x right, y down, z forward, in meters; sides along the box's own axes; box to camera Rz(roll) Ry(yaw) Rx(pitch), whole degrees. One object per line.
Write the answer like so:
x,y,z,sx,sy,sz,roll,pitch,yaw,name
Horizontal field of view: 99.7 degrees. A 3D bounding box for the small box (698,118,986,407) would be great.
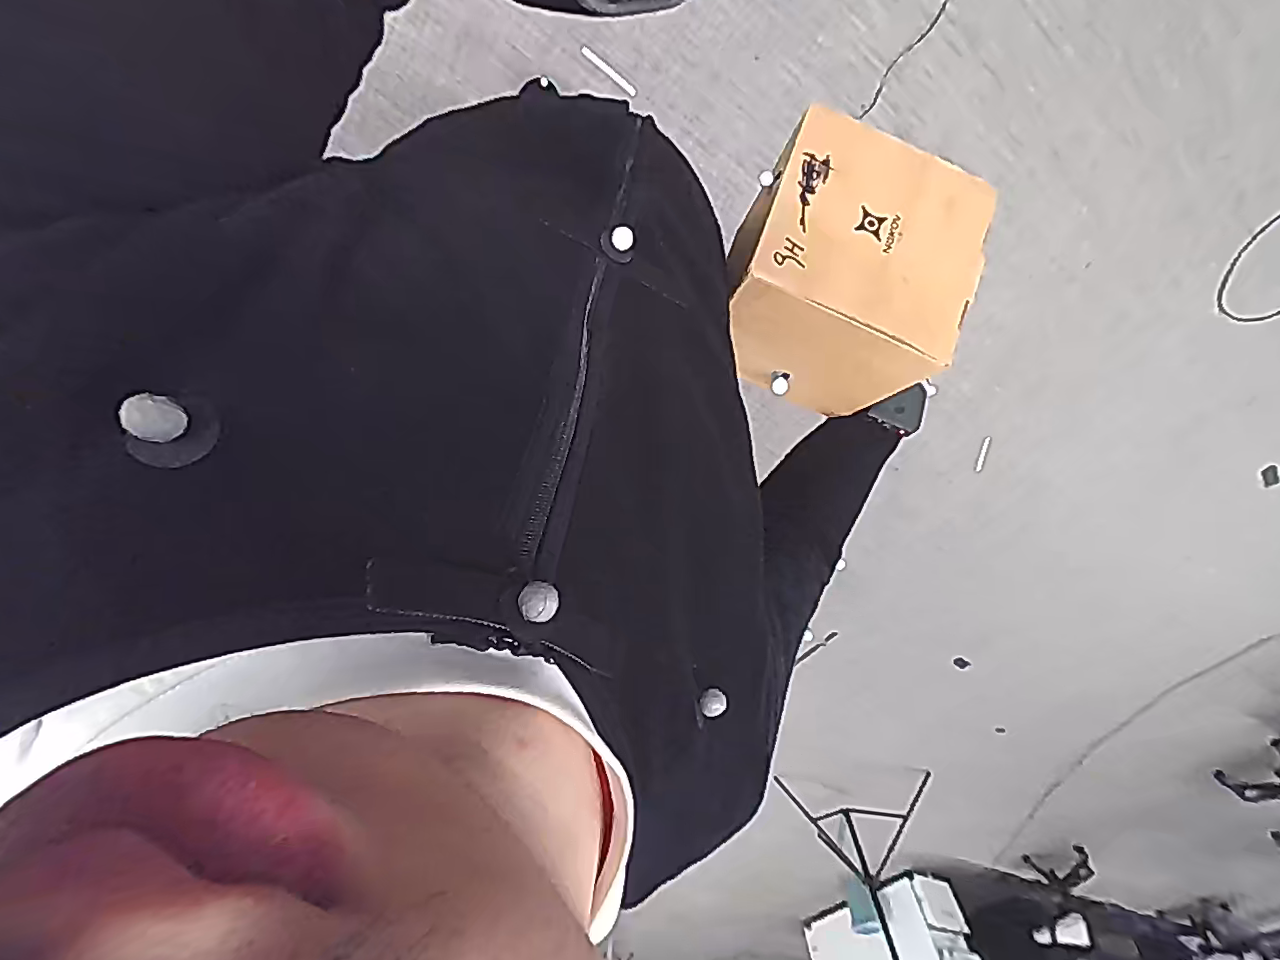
0.179,-0.185,0.521,0.179,0.176,0.168,22,78,-6,small box
